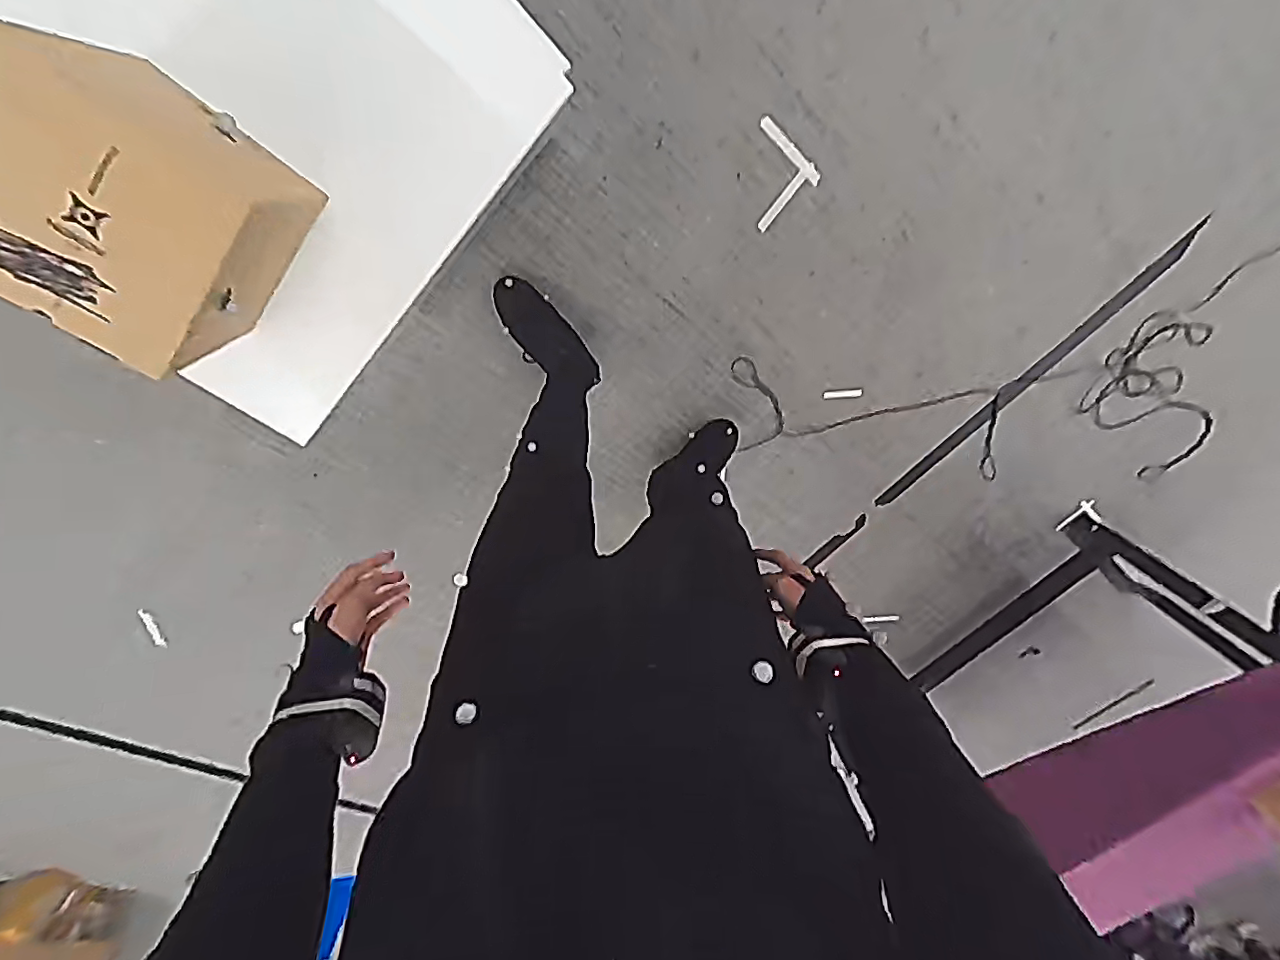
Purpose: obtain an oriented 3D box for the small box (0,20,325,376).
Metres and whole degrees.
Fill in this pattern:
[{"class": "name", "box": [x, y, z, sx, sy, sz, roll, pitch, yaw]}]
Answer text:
[{"class": "small box", "box": [-0.408, -0.226, 0.464, 0.168, 0.176, 0.179, 35, 108, -26]}]
